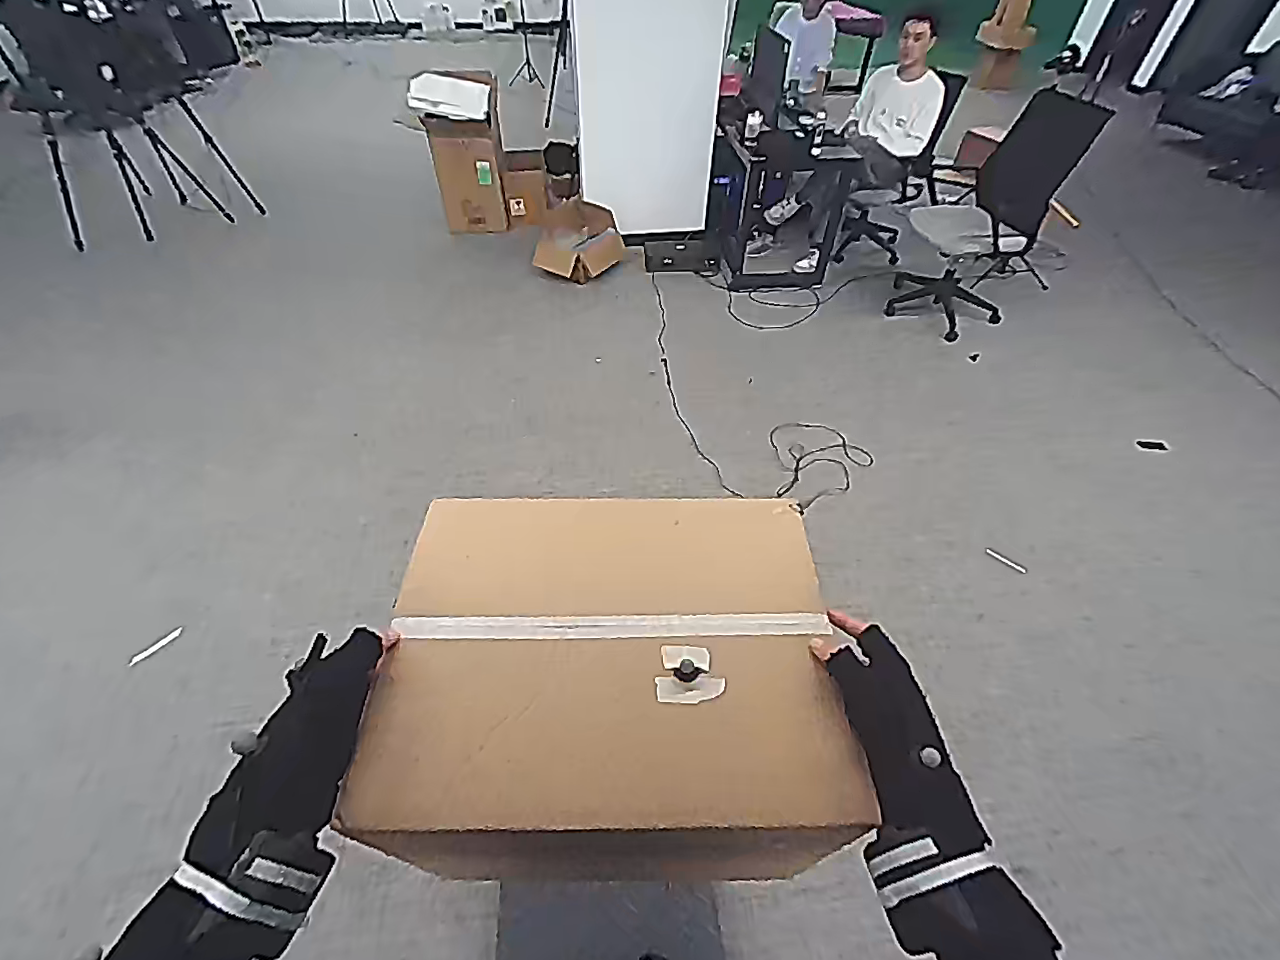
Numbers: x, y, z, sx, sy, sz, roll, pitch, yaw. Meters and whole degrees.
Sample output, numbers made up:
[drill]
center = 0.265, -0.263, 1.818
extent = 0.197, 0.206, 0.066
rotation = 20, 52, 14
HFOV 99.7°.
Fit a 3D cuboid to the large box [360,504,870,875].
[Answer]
[large box]
center = -0.023, 0.241, 0.623
extent = 0.408, 0.320, 0.320
rotation = 0, 48, -1
